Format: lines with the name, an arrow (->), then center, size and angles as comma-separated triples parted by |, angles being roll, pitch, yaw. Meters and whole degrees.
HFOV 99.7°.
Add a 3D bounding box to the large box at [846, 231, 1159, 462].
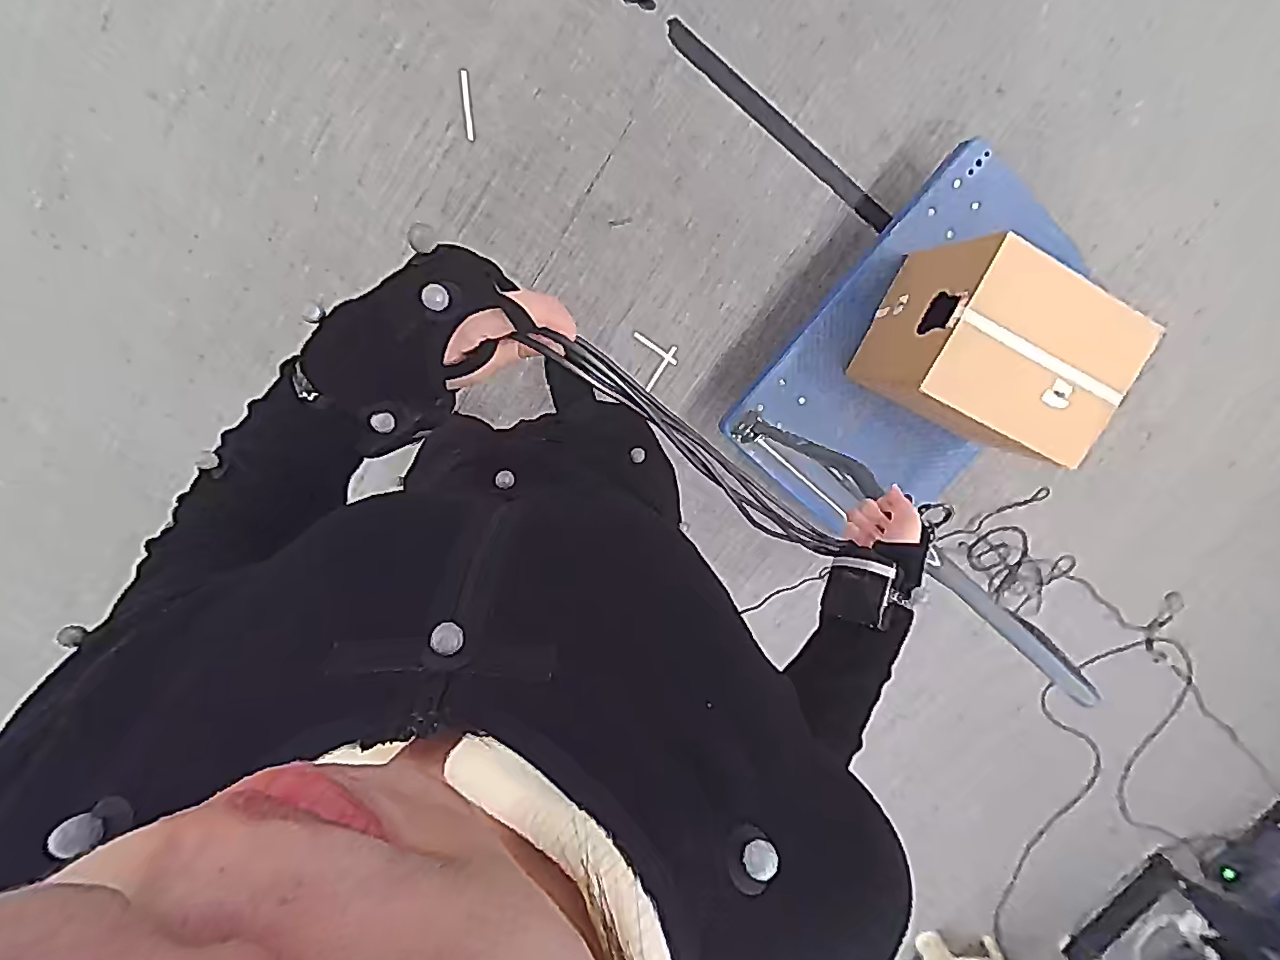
large box -> 0.747, -0.281, 1.175 | 0.408, 0.320, 0.320 | 22, 103, -13
